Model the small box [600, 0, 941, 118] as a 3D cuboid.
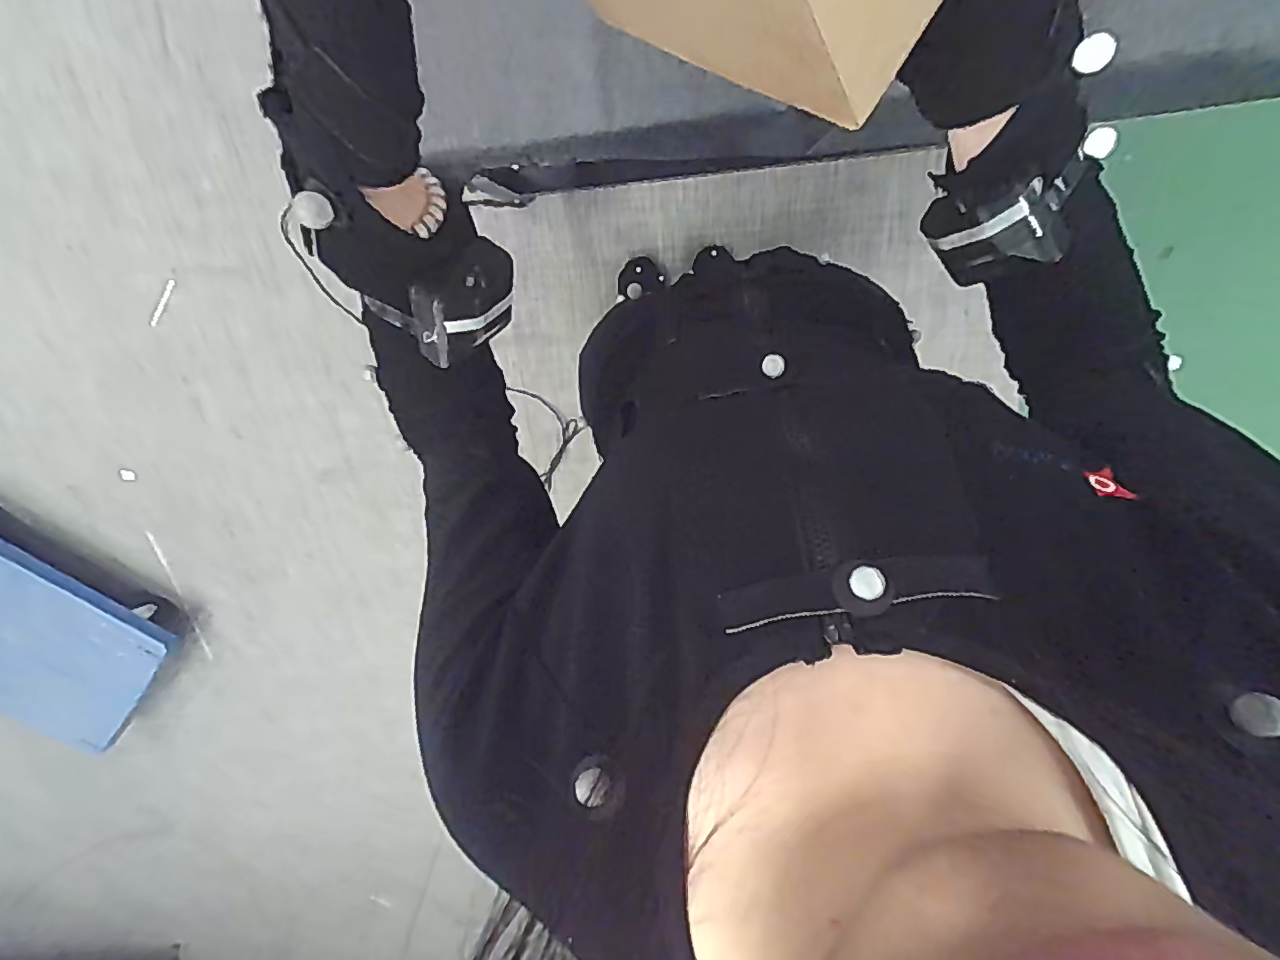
[{"bbox_3d":[0.041,-0.268,0.169,0.168,0.176,0.179,42,114,22],"label":"small box"}]
